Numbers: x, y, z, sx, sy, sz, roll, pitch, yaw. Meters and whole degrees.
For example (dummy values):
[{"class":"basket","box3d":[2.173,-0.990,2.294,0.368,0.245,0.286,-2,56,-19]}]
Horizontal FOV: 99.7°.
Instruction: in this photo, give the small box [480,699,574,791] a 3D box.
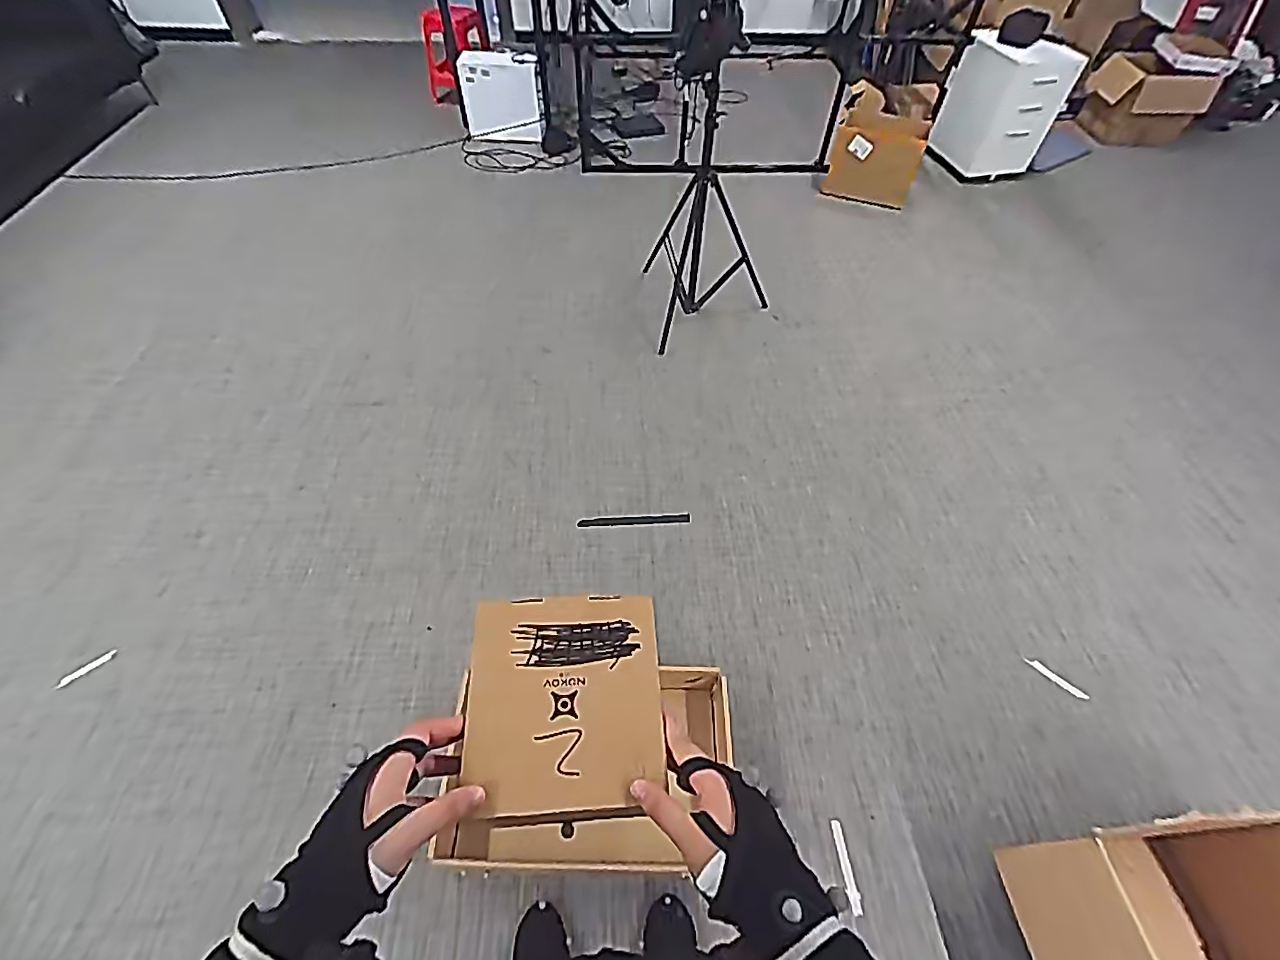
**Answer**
[{"class":"small box","box3d":[-0.251,0.611,1.238,0.179,0.176,0.168,3,55,-2]}]
